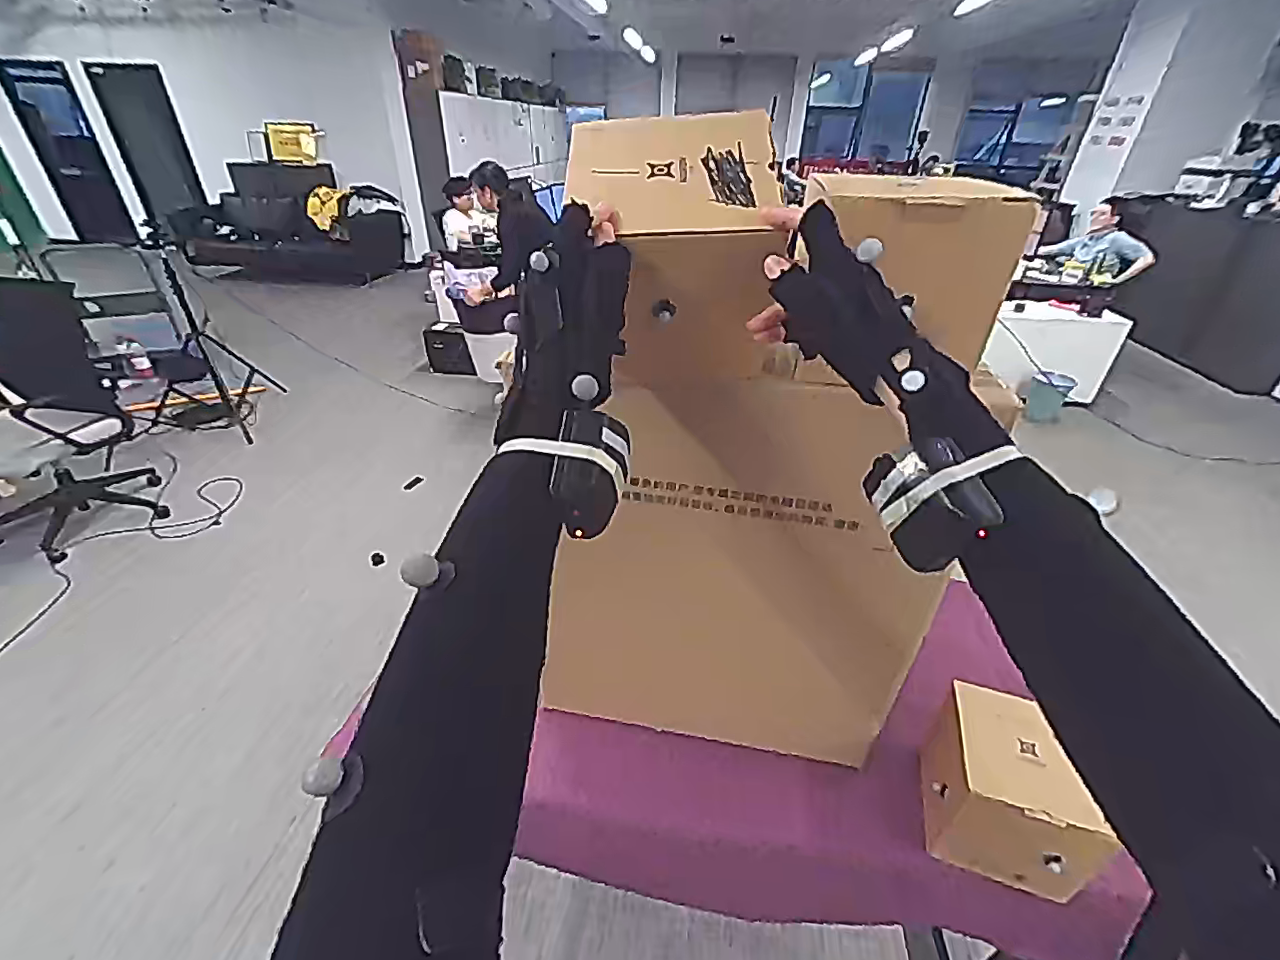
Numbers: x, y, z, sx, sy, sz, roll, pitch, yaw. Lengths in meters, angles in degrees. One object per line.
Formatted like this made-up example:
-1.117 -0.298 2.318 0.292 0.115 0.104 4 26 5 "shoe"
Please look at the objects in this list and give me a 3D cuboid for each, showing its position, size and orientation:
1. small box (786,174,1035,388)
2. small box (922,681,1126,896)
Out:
0.248 -0.206 0.551 0.168 0.176 0.179 6 35 7 "small box"
0.504 0.420 0.744 0.168 0.176 0.179 13 33 16 "small box"
